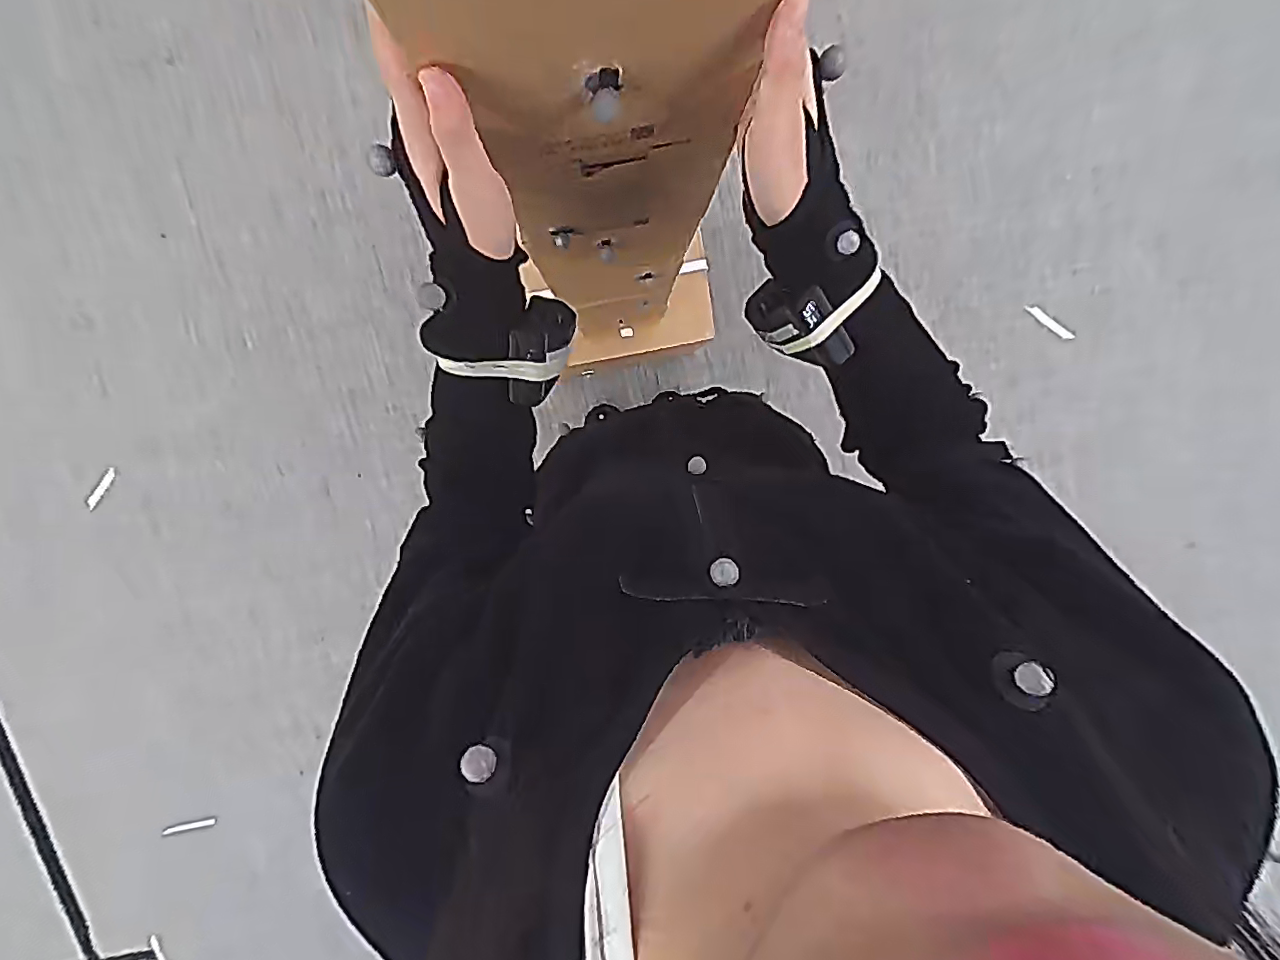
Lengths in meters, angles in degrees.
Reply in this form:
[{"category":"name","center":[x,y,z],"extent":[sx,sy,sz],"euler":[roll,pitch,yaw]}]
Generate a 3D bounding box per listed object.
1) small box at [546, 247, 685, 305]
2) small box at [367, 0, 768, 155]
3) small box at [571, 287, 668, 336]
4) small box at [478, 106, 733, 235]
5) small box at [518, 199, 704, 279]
[{"category":"small box","center":[-0.044,-0.345,0.734],"extent":[0.179,0.176,0.168],"euler":[-10,98,0]},{"category":"small box","center":[-0.033,-0.277,0.248],"extent":[0.168,0.176,0.179],"euler":[-10,99,0]},{"category":"small box","center":[-0.052,-0.388,1.060],"extent":[0.179,0.176,0.168],"euler":[-13,99,-1]},{"category":"small box","center":[-0.033,-0.303,0.410],"extent":[0.168,0.176,0.179],"euler":[-9,97,-1]},{"category":"small box","center":[-0.040,-0.324,0.574],"extent":[0.179,0.176,0.168],"euler":[-9,99,0]}]
